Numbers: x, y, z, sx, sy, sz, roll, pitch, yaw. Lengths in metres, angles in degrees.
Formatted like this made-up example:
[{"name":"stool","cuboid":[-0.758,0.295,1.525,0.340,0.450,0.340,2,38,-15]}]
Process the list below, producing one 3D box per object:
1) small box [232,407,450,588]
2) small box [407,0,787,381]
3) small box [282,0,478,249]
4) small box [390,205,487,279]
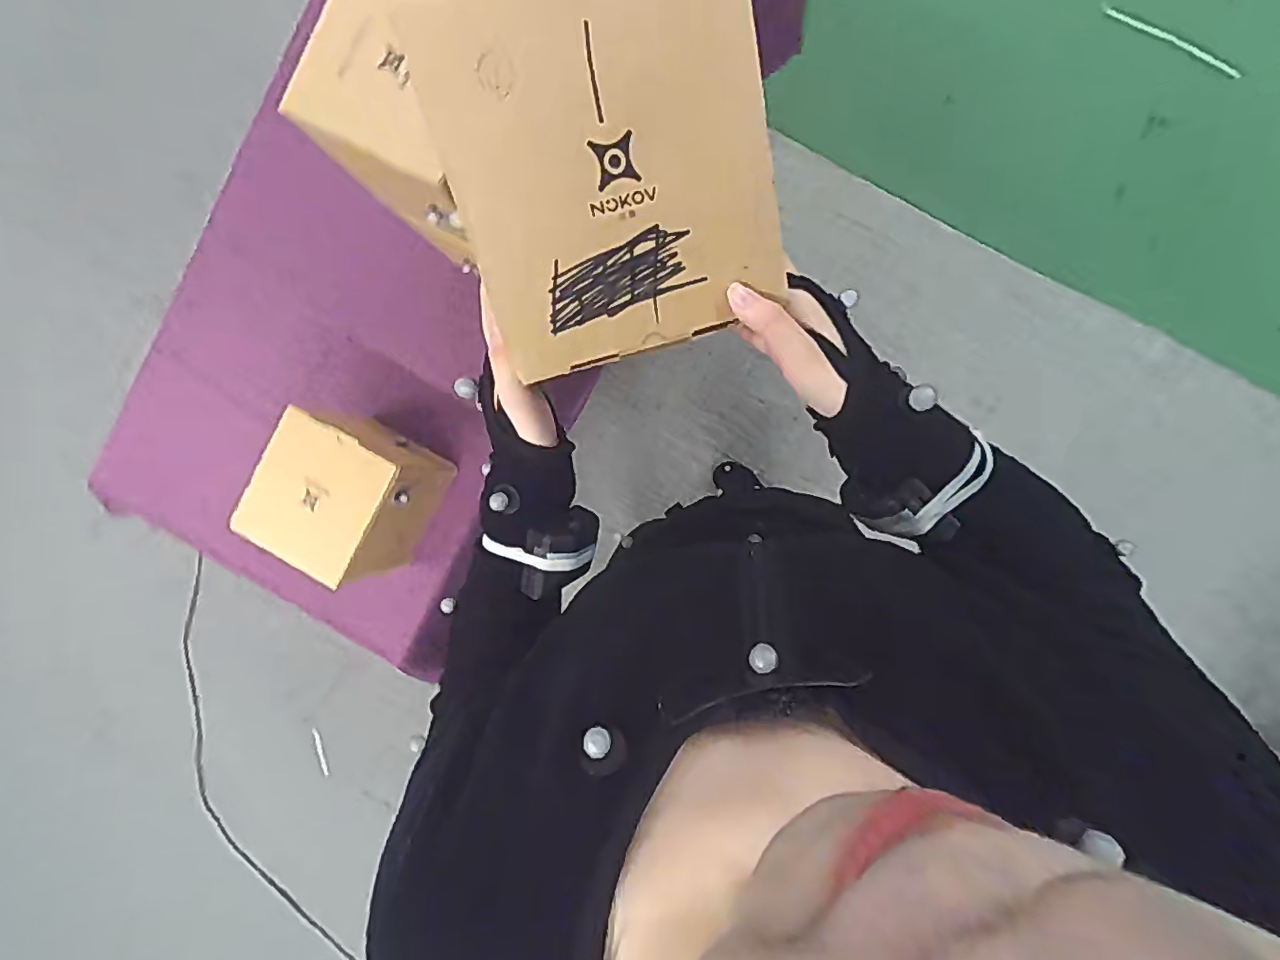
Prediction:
[{"name":"small box","cuboid":[-0.395,0.022,0.747,0.168,0.176,0.179,28,92,5]},{"name":"small box","cuboid":[-0.020,-0.184,0.353,0.168,0.176,0.179,-16,114,-3]},{"name":"small box","cuboid":[-0.206,-0.367,0.560,0.179,0.176,0.168,28,92,6]},{"name":"small box","cuboid":[-0.185,-0.364,0.722,0.168,0.176,0.179,30,93,4]}]
